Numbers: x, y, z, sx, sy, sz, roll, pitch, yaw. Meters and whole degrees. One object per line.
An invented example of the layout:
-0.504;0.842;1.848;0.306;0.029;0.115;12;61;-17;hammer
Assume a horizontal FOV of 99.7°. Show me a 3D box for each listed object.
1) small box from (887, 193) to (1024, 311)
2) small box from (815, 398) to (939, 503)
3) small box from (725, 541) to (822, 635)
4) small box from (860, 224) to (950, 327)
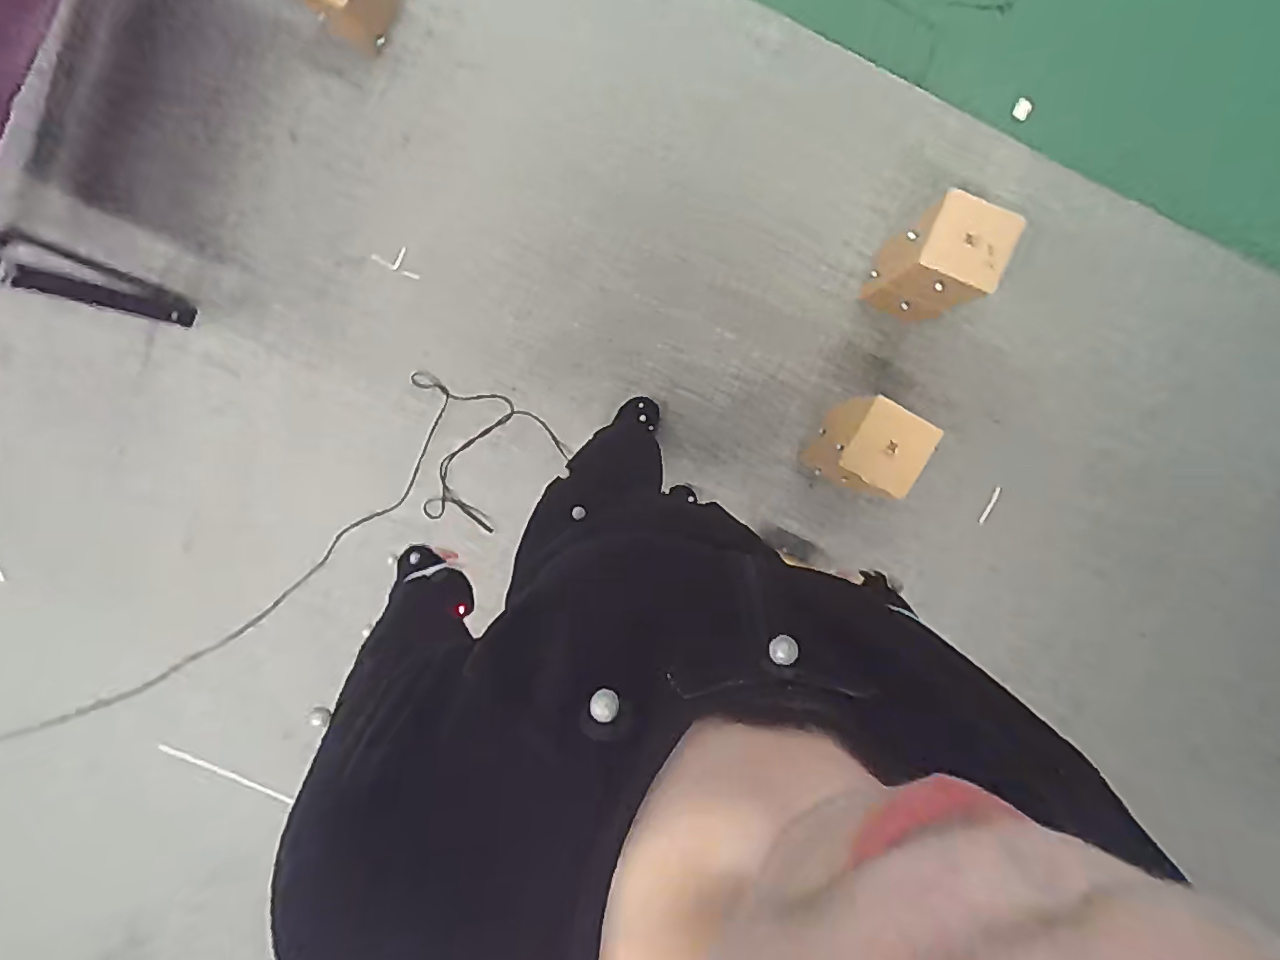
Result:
0.686;-0.494;1.202;0.179;0.176;0.168;23;96;-1;small box
0.530;-0.070;1.238;0.168;0.176;0.179;30;94;-2;small box
0.342;0.275;1.433;0.179;0.176;0.168;28;95;-1;small box
0.690;-0.505;1.366;0.179;0.176;0.168;24;95;-2;small box
